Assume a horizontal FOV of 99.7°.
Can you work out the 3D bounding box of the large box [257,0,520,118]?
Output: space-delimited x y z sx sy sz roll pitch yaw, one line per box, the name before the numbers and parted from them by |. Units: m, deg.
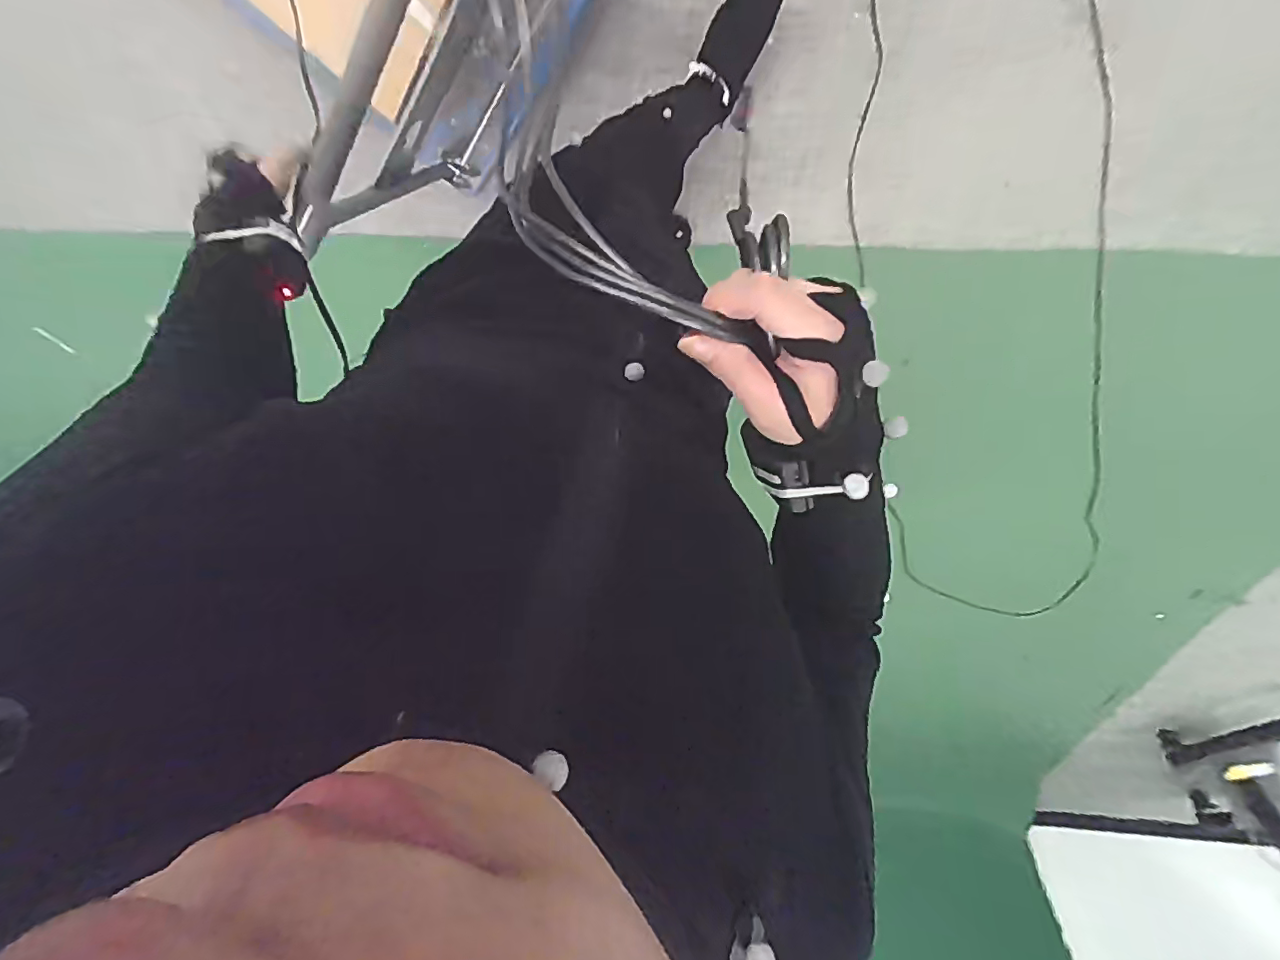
large box | -0.418 -0.855 0.829 0.408 0.320 0.320 36 123 -20
